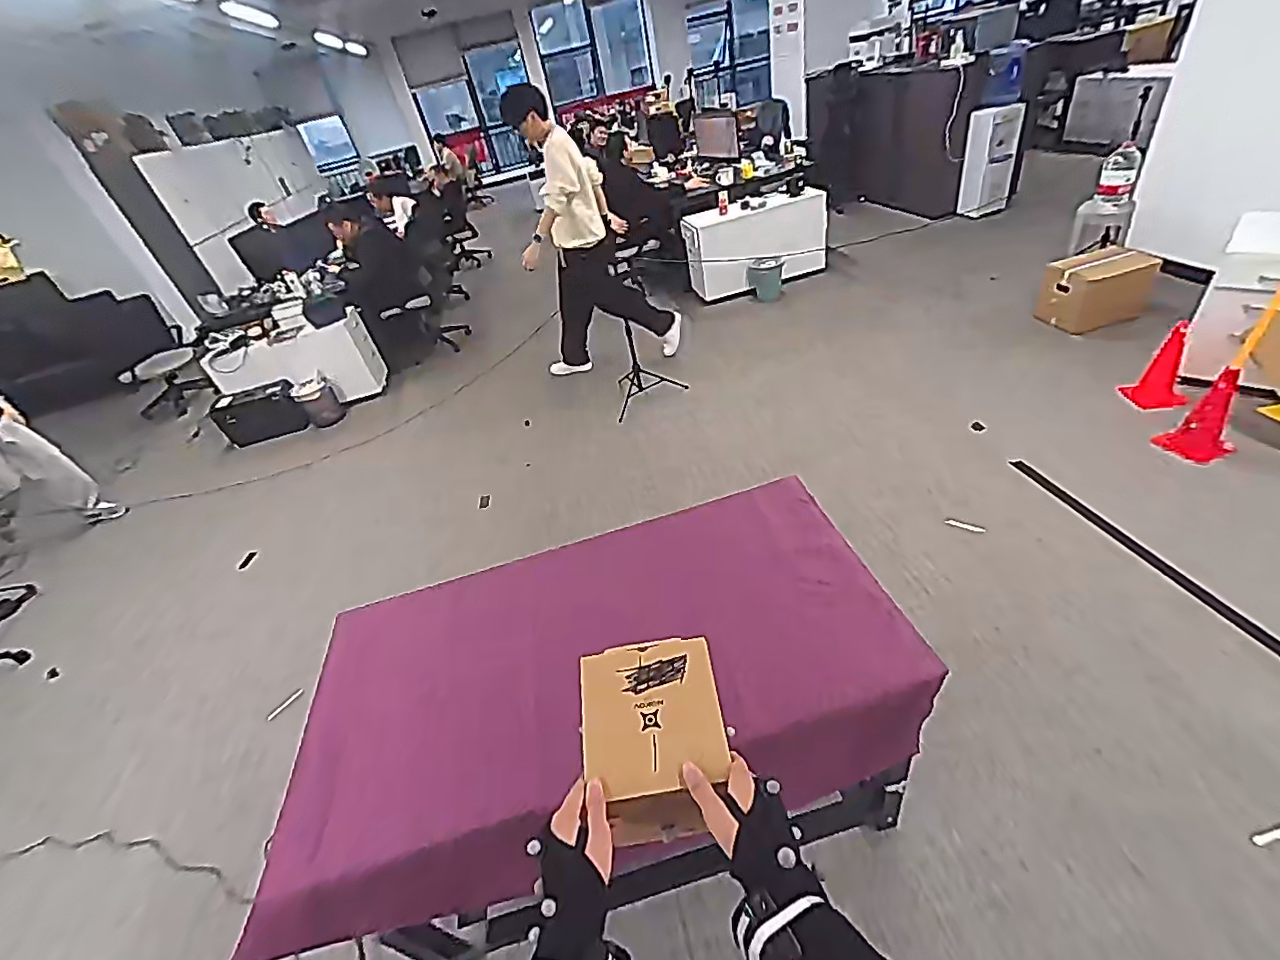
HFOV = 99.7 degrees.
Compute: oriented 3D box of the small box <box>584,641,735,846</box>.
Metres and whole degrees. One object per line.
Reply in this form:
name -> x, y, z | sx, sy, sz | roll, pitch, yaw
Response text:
small box -> 0.024, 0.338, 0.697 | 0.168, 0.176, 0.179 | -10, 42, 1
